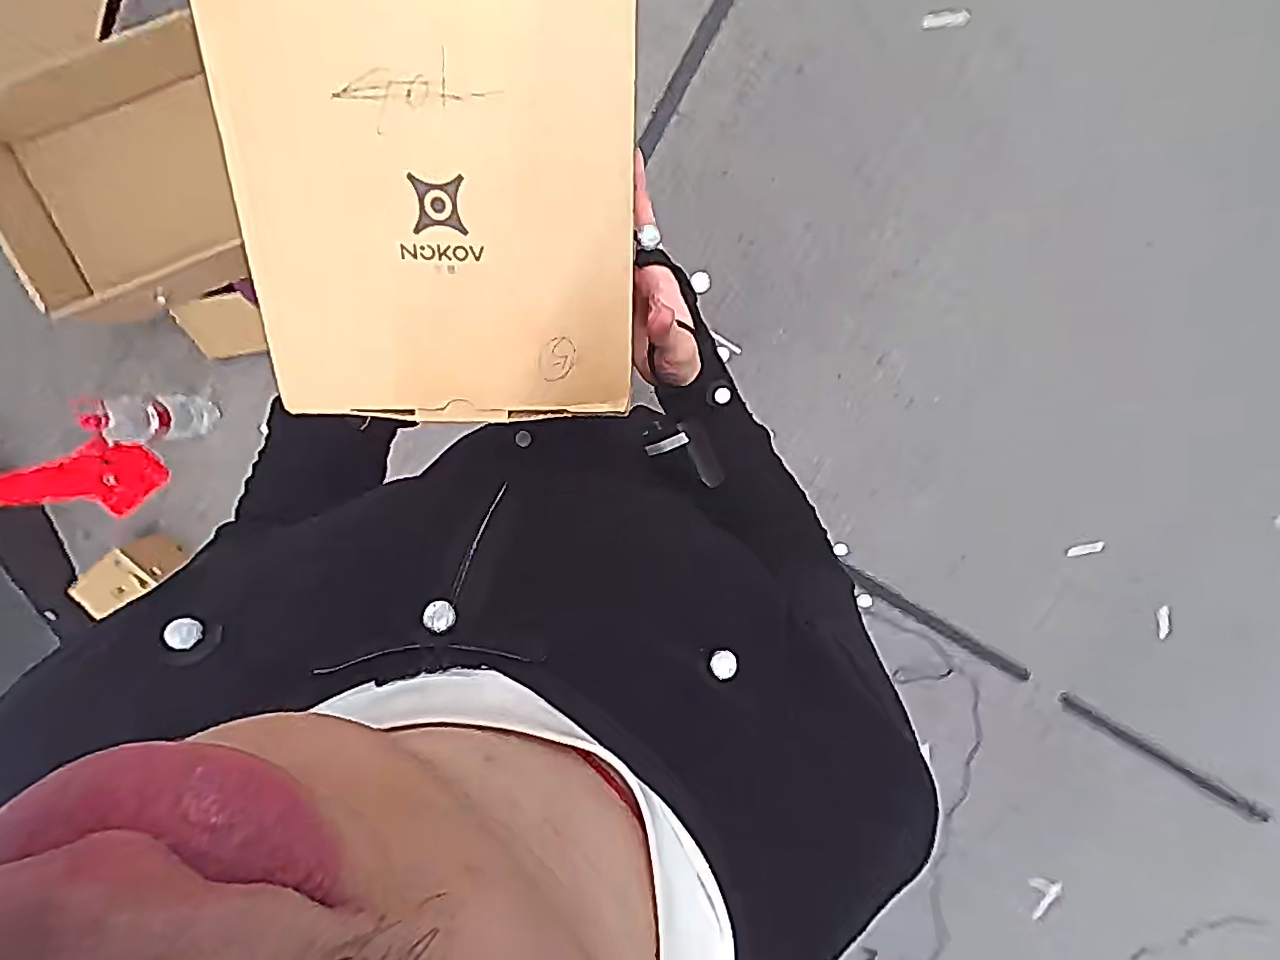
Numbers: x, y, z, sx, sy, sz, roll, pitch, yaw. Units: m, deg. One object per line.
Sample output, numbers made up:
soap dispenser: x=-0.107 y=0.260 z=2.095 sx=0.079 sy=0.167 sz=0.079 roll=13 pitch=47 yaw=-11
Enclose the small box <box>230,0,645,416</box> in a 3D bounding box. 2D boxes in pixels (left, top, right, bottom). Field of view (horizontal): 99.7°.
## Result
small box: x=-0.086 y=-0.145 z=0.317 sx=0.168 sy=0.176 sz=0.179 roll=1 pitch=110 yaw=-4
